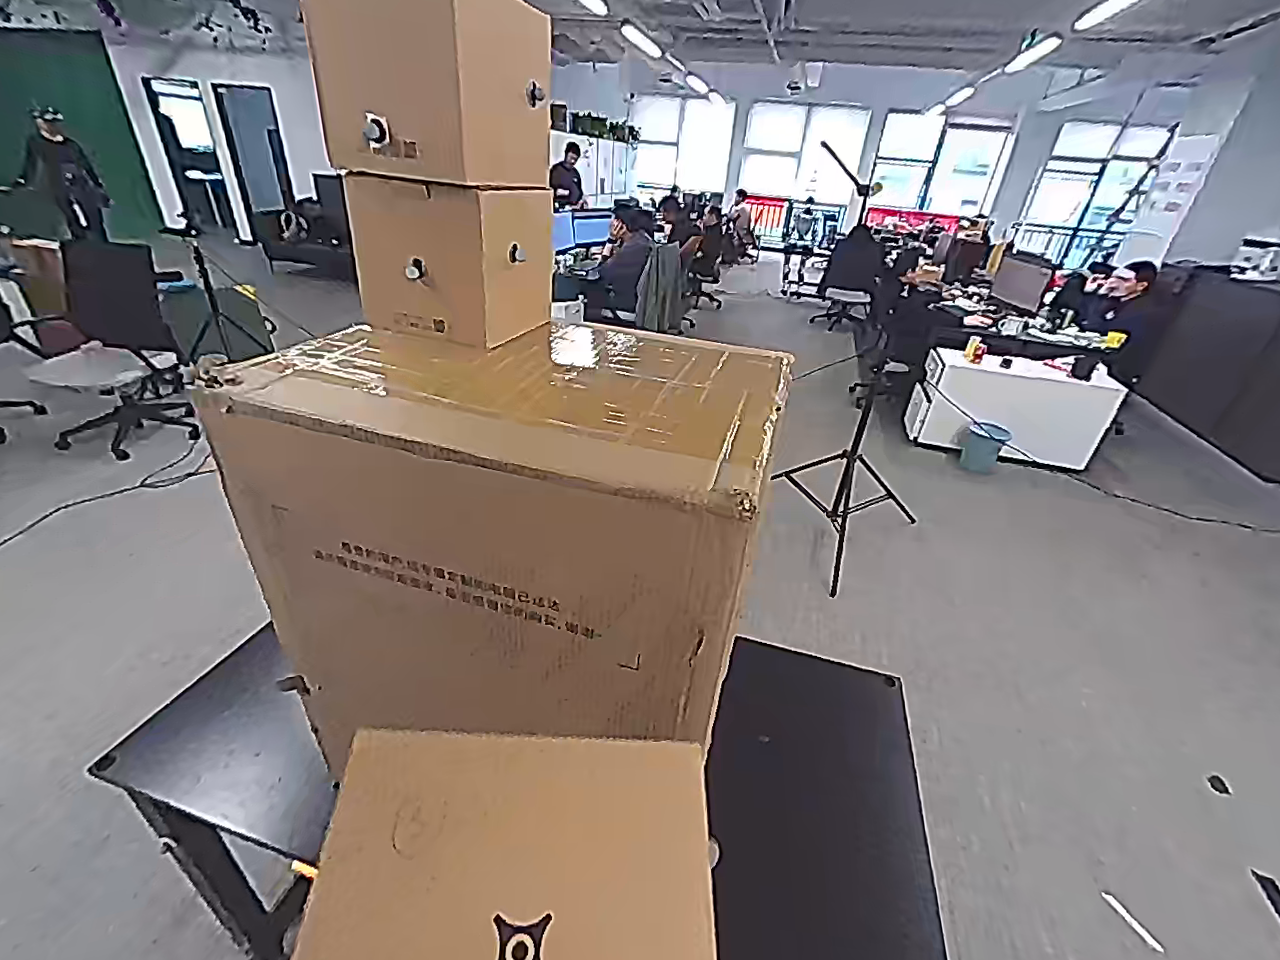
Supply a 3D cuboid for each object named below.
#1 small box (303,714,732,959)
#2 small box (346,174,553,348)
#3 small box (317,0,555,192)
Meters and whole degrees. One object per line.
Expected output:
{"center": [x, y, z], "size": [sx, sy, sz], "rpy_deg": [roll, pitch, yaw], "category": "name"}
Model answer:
{"center": [-0.059, 0.231, 0.271], "size": [0.168, 0.176, 0.179], "rpy_deg": [7, 55, -9], "category": "small box"}
{"center": [-0.214, -0.270, 0.659], "size": [0.168, 0.176, 0.179], "rpy_deg": [13, 31, 12], "category": "small box"}
{"center": [-0.201, -0.404, 0.564], "size": [0.168, 0.176, 0.179], "rpy_deg": [13, 31, 14], "category": "small box"}
